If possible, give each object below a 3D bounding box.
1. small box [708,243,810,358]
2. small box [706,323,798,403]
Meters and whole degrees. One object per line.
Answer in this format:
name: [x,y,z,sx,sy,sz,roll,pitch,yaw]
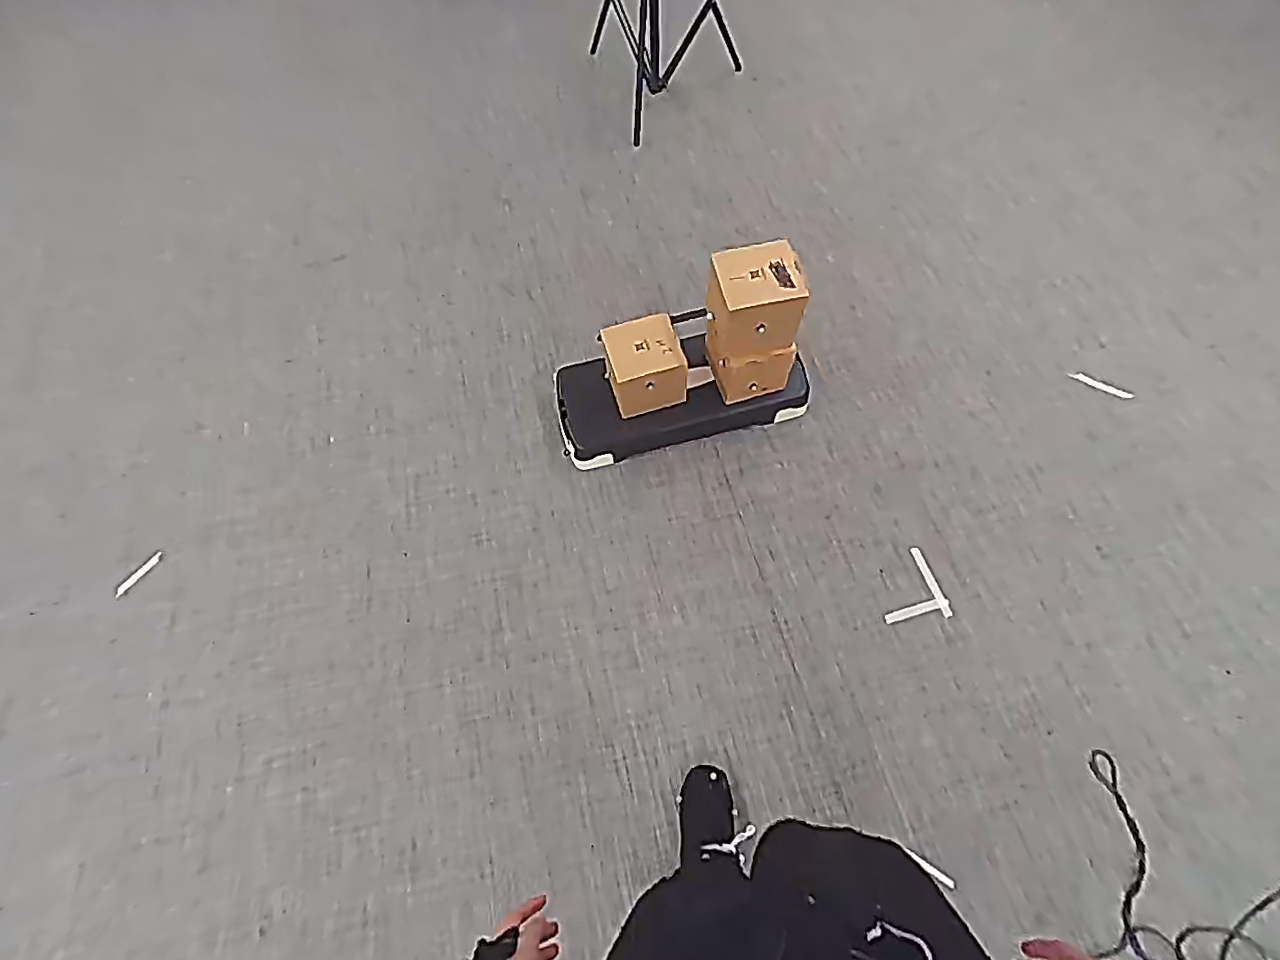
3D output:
small box: [0.260,-0.402,1.227,0.179,0.176,0.168,-11,66,-2]
small box: [0.274,-0.323,1.372,0.168,0.176,0.179,-16,67,-5]
